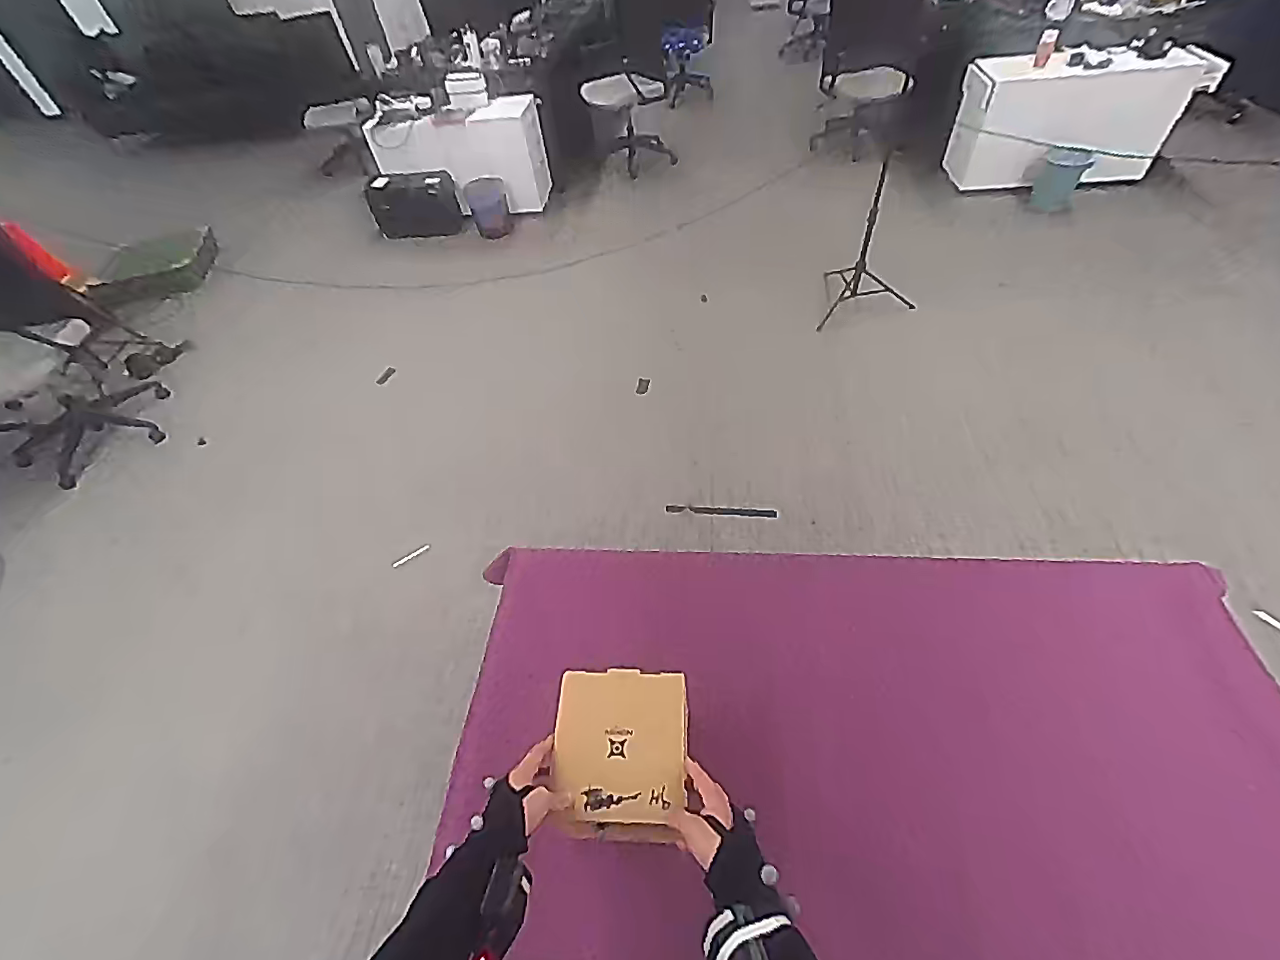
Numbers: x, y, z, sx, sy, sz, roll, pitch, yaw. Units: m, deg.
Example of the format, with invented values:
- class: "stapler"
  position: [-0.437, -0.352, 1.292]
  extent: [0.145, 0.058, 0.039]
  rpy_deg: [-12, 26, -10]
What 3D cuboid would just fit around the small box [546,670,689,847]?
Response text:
- class: "small box"
  position: [-0.018, 0.378, 0.735]
  extent: [0.168, 0.176, 0.179]
  rpy_deg: [0, 50, 6]
